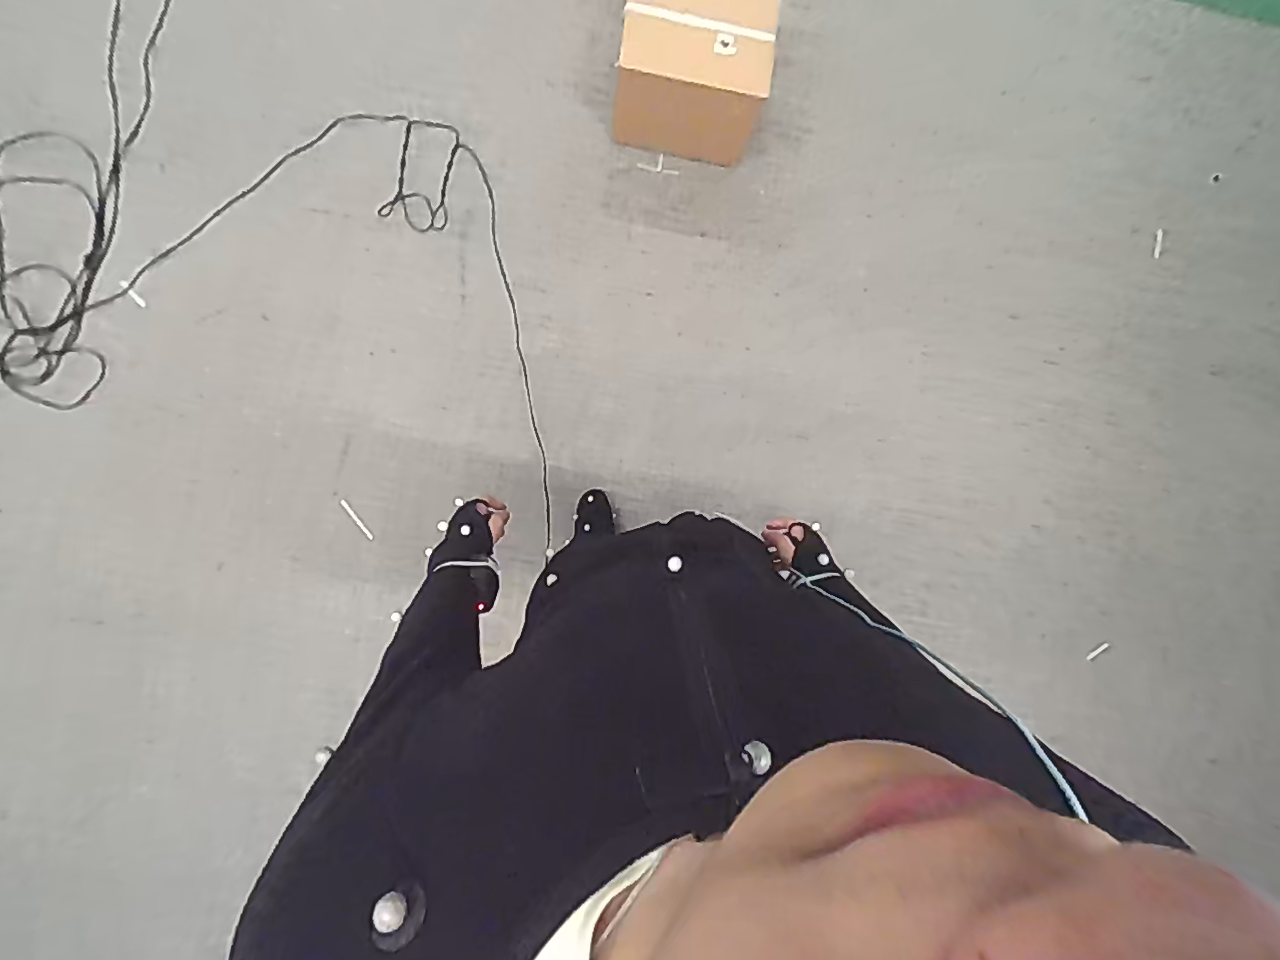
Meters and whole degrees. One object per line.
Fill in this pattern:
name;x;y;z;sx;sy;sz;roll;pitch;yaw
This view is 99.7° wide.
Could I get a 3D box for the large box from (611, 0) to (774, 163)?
large box;0.135;-1.186;1.571;0.408;0.320;0.320;7;88;-6
